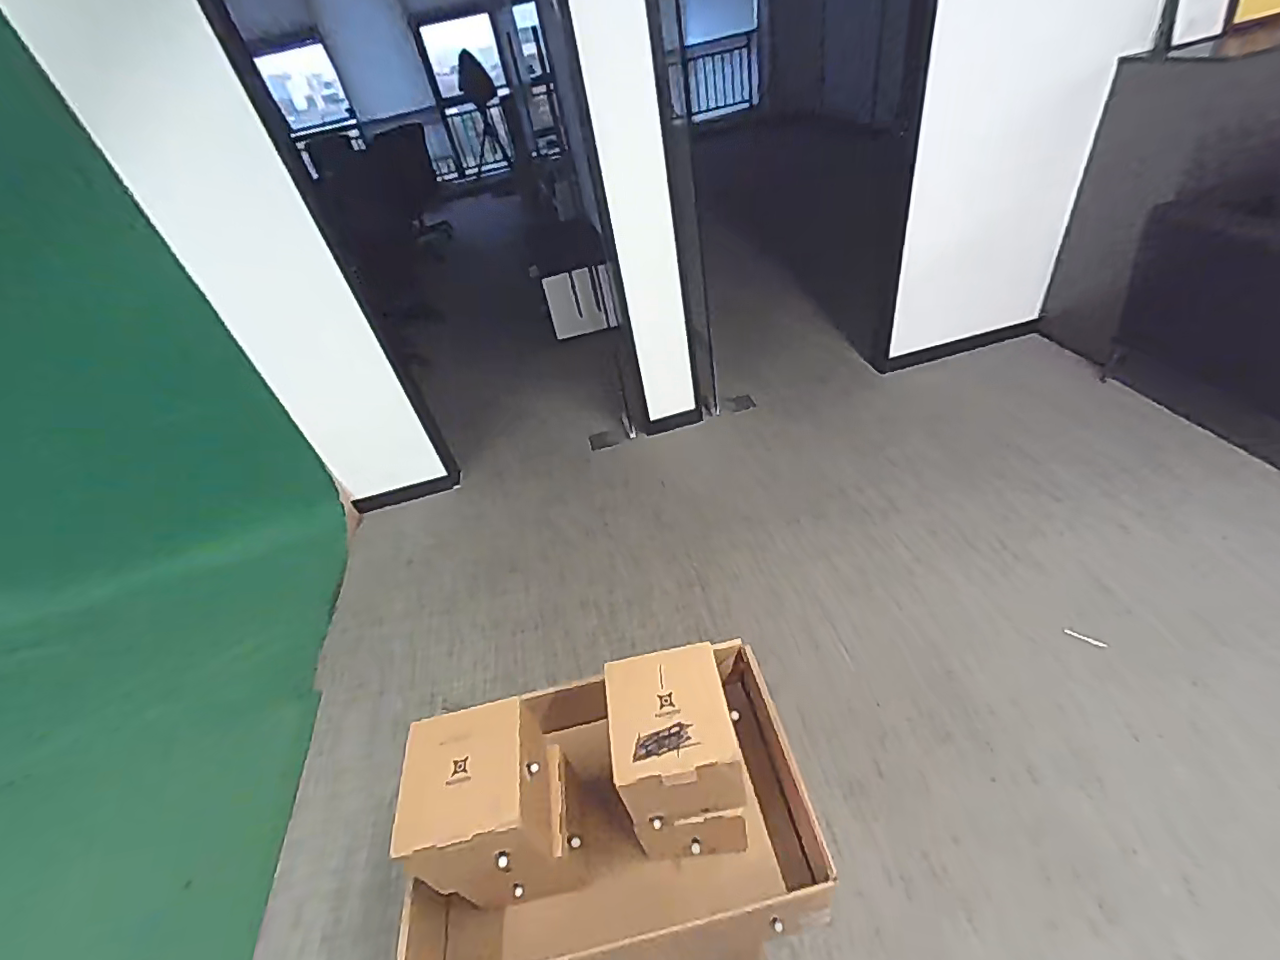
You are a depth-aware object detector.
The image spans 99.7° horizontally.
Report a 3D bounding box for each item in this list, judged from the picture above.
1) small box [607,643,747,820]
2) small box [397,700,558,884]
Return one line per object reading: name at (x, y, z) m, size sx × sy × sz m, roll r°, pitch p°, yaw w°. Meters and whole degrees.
small box at (0.055, 0.376, 0.798) m, size 0.168 × 0.176 × 0.179 m, roll -13°, pitch 39°, yaw 2°
small box at (-0.221, 0.457, 0.785) m, size 0.168 × 0.176 × 0.179 m, roll -14°, pitch 39°, yaw 0°
